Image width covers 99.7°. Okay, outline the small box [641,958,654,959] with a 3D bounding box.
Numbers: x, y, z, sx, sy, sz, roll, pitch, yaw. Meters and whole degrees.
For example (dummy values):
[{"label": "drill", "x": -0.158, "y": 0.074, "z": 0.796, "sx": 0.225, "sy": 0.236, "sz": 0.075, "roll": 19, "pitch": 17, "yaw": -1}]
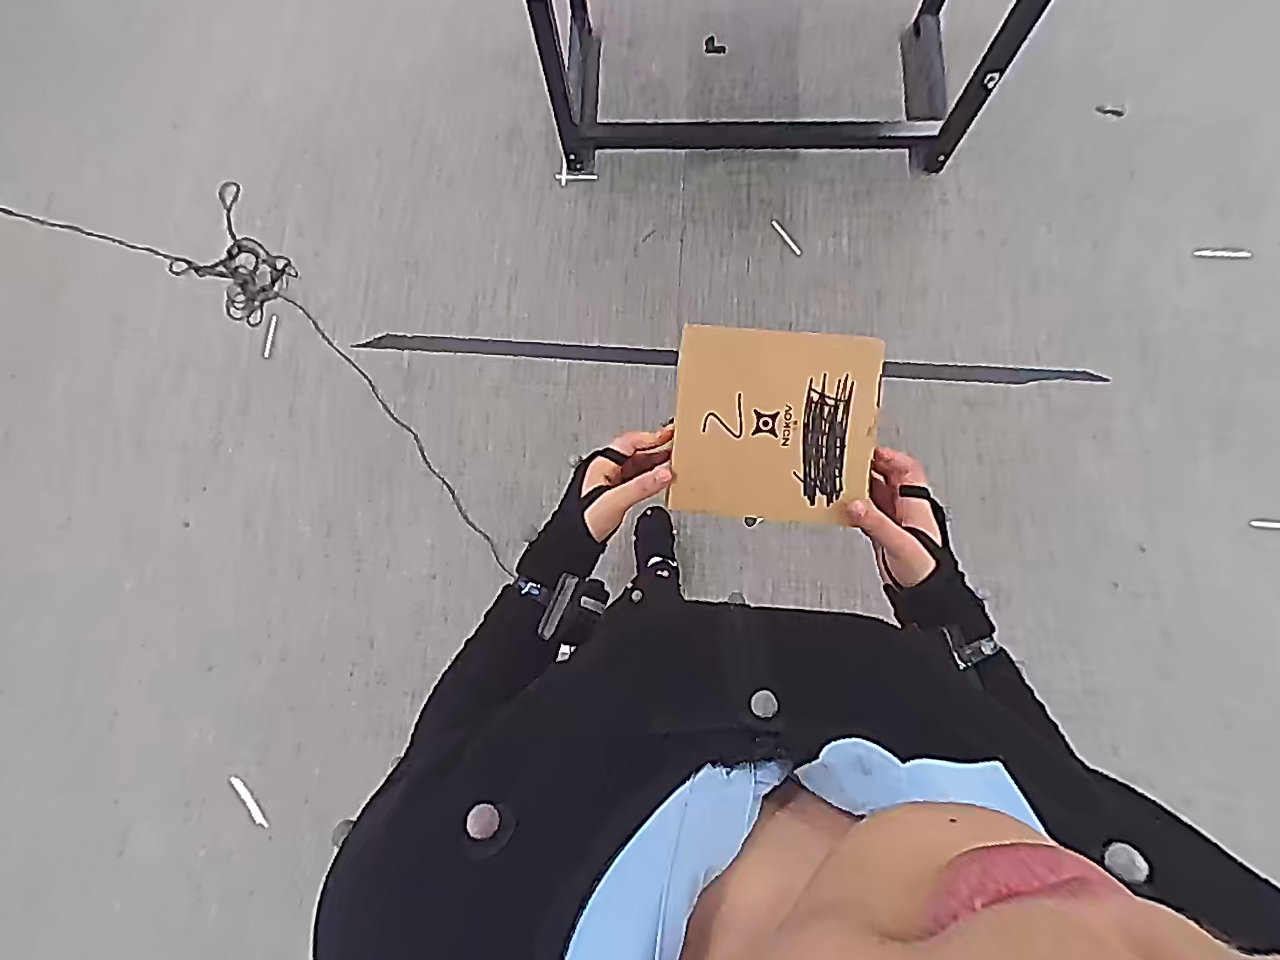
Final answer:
[{"label": "small box", "x": 0.067, "y": 1.229, "z": 1.217, "sx": 0.168, "sy": 0.176, "sz": 0.179, "roll": 1, "pitch": 79, "yaw": 3}]
